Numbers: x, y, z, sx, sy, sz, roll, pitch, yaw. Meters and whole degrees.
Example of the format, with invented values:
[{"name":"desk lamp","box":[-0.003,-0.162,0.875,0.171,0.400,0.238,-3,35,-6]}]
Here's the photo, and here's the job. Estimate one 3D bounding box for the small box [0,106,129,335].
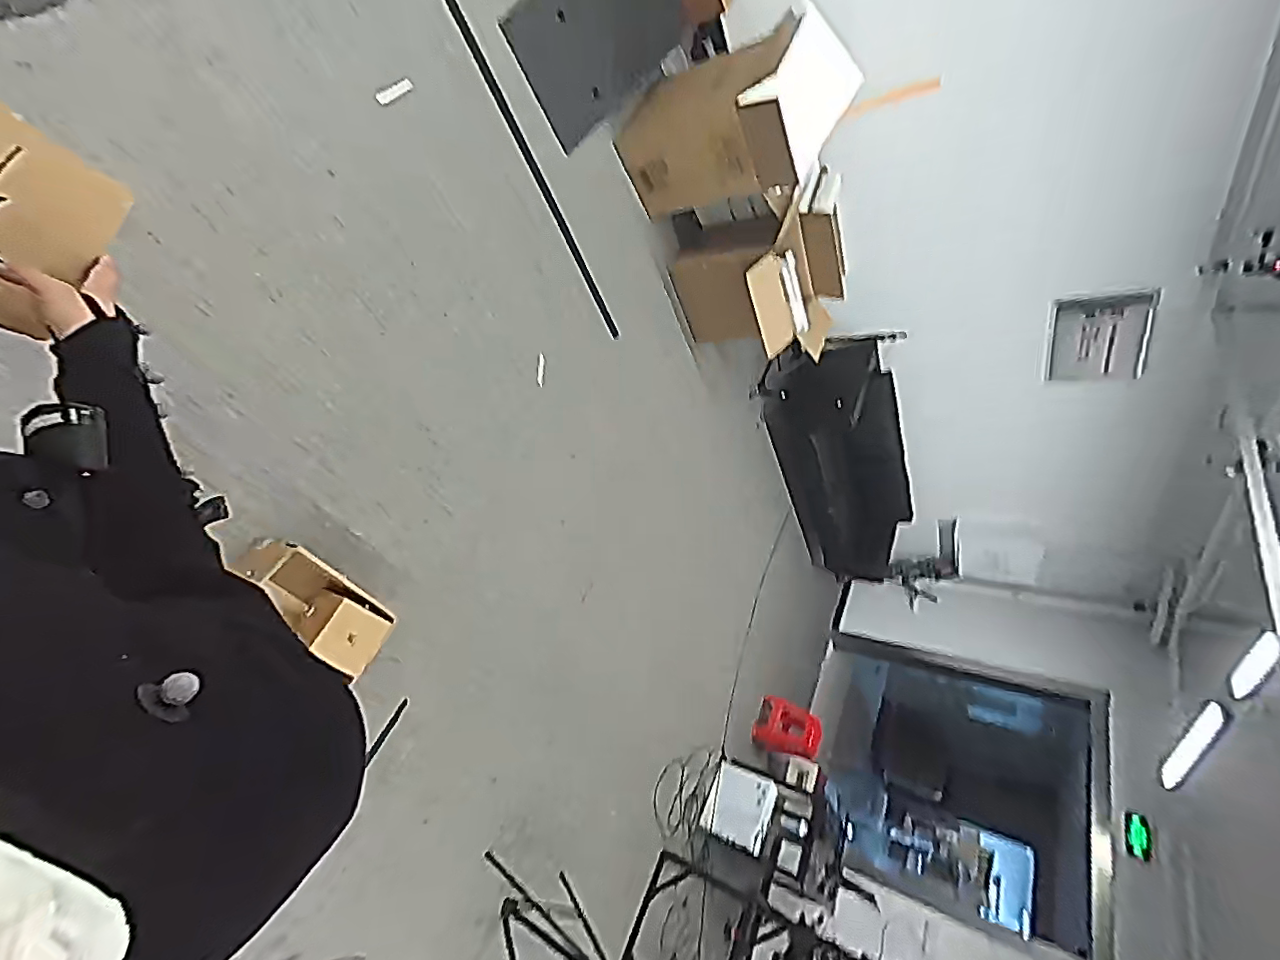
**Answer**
[{"name":"small box","box":[-0.644,-0.267,0.500,0.179,0.176,0.168,-64,152,-6]}]
